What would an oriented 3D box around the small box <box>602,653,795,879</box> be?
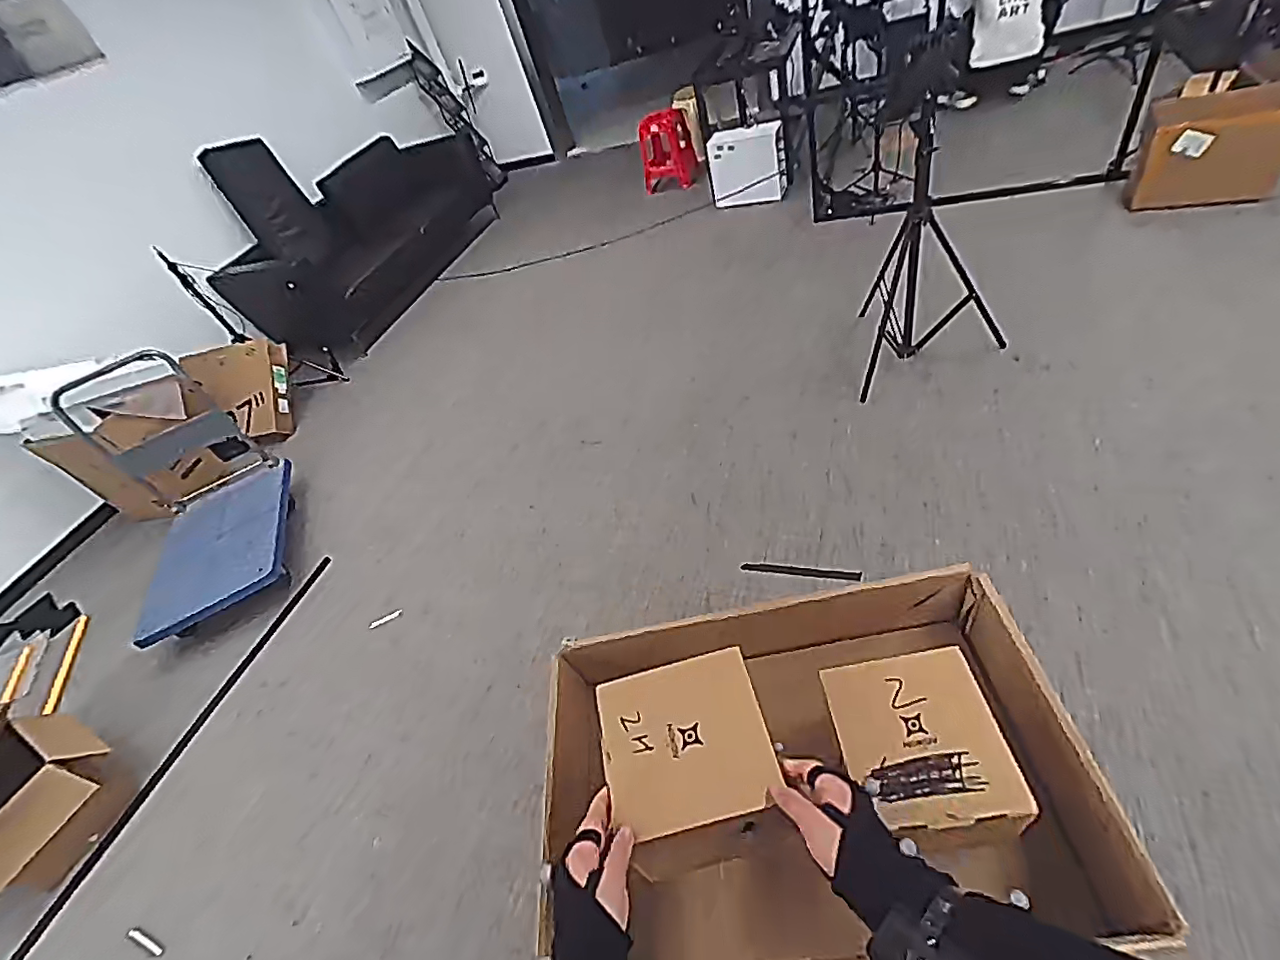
[{"bbox_3d":[0.068,0.332,0.625,0.179,0.176,0.168,-17,42,2],"label":"small box"}]
